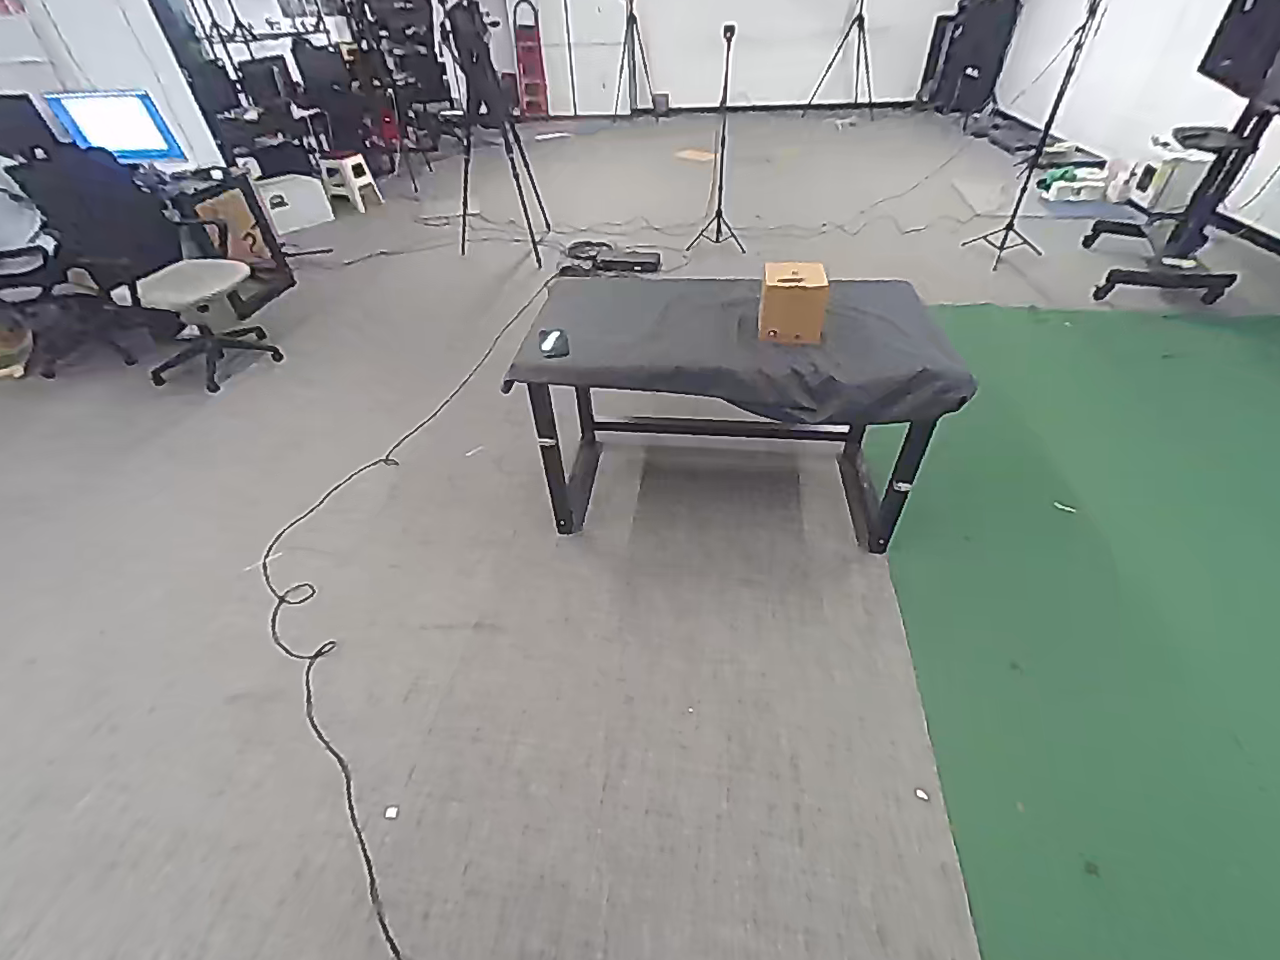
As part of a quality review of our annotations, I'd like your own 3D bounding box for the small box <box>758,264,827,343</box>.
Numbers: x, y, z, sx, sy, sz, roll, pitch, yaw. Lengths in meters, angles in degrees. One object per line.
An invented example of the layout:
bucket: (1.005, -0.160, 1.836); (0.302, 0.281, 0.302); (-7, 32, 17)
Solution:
small box: (0.434, -0.509, 1.561); (0.168, 0.176, 0.179); (4, 41, 8)
